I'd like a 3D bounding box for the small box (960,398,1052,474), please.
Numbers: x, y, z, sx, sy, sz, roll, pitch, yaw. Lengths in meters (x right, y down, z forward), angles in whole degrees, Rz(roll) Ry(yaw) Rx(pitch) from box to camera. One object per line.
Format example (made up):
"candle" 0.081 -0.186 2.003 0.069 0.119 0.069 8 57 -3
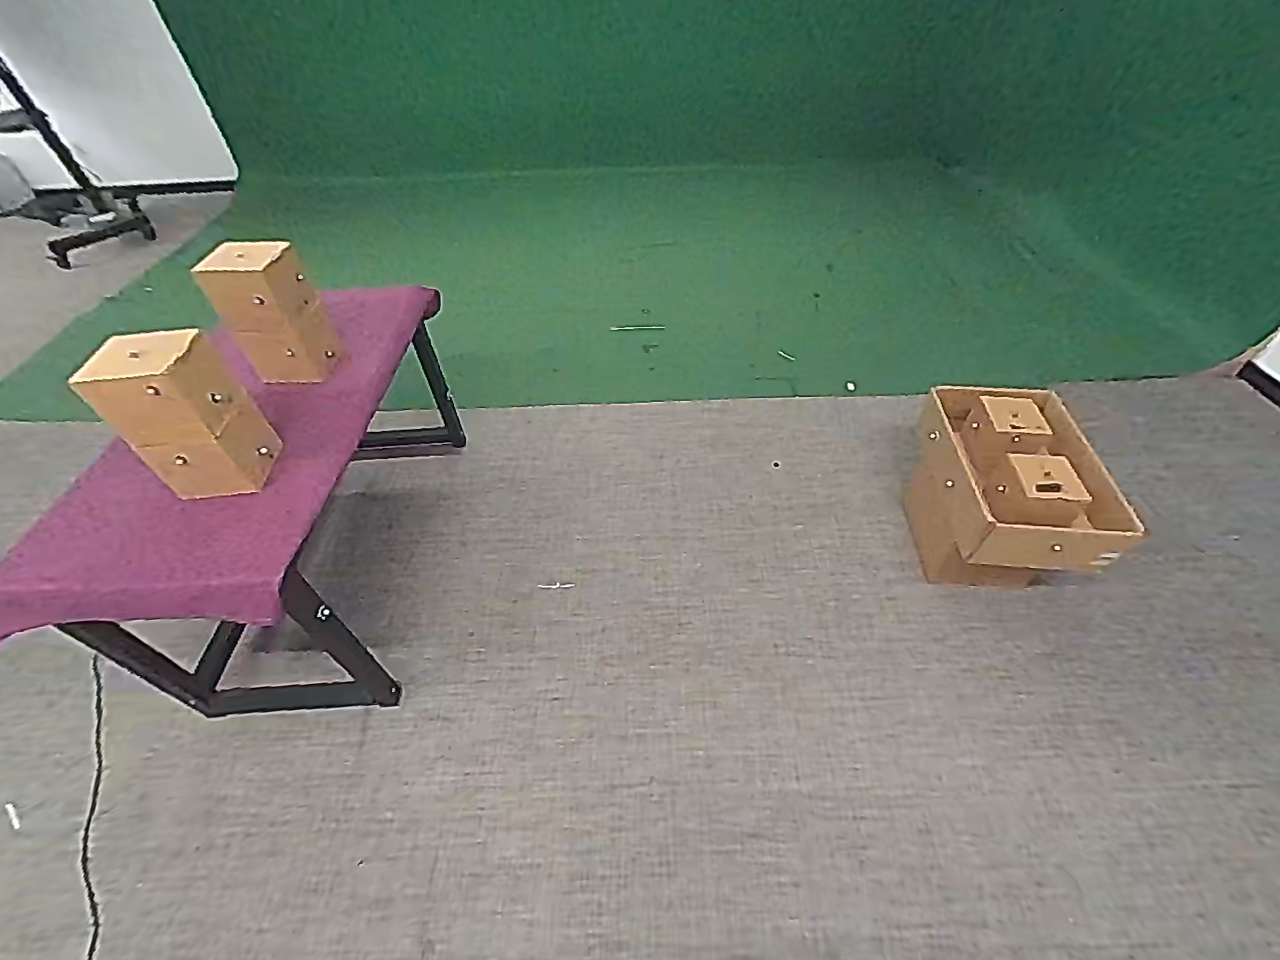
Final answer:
"small box" 1.175 -0.143 1.754 0.168 0.176 0.179 4 46 5

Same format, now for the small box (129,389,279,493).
"small box" -0.975 -0.085 1.229 0.179 0.176 0.168 -5 47 -3

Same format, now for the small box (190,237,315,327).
"small box" -0.989 -0.510 1.402 0.179 0.176 0.168 0 47 1

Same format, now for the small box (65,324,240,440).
"small box" -0.982 -0.198 1.112 0.179 0.176 0.168 -6 47 -5
